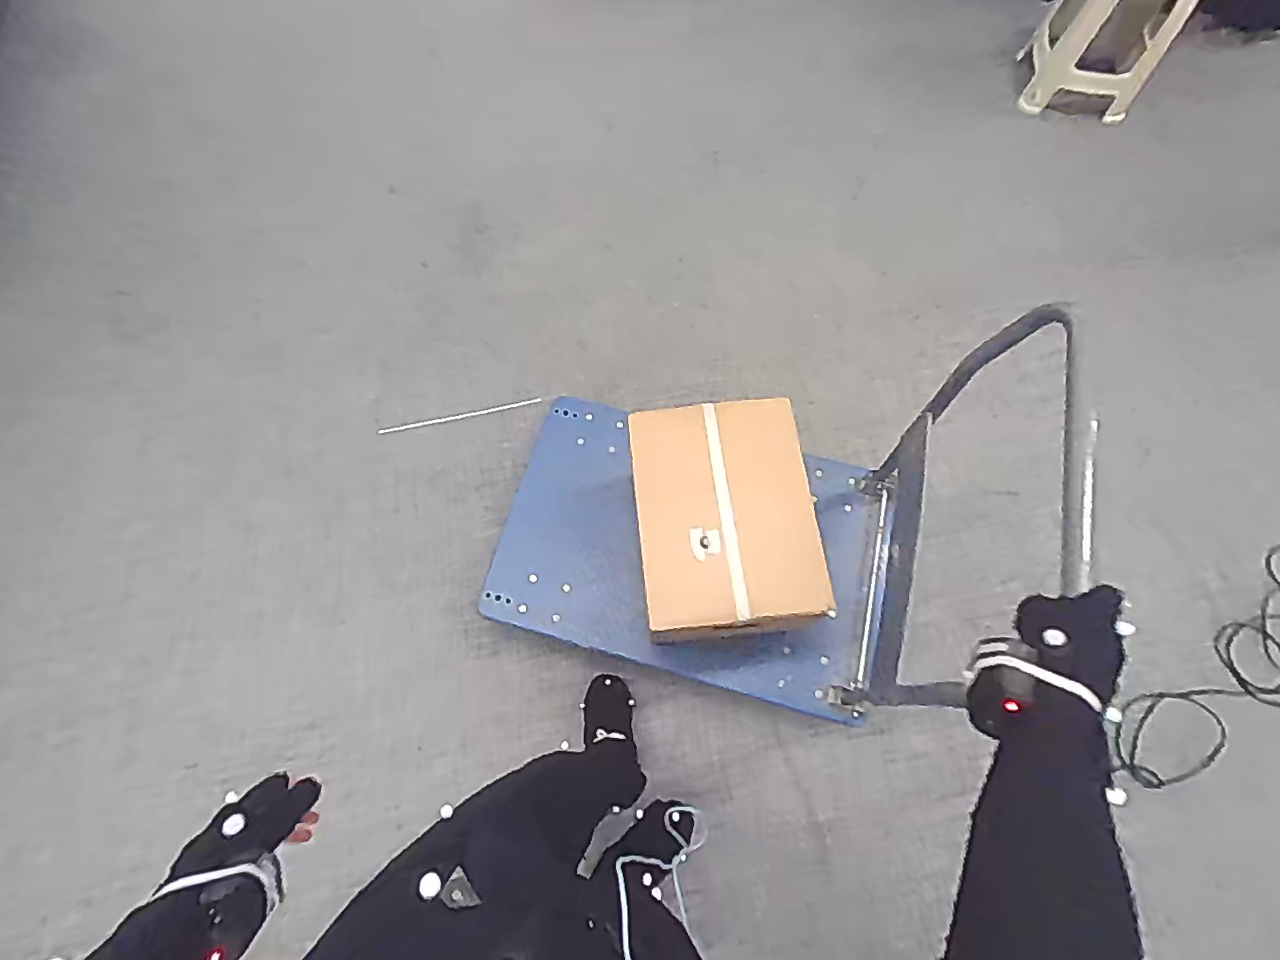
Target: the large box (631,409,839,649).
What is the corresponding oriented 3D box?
[{"bbox_3d":[0.161,0.114,1.110,0.320,0.320,0.408,-7,69,-1],"label":"large box"}]
